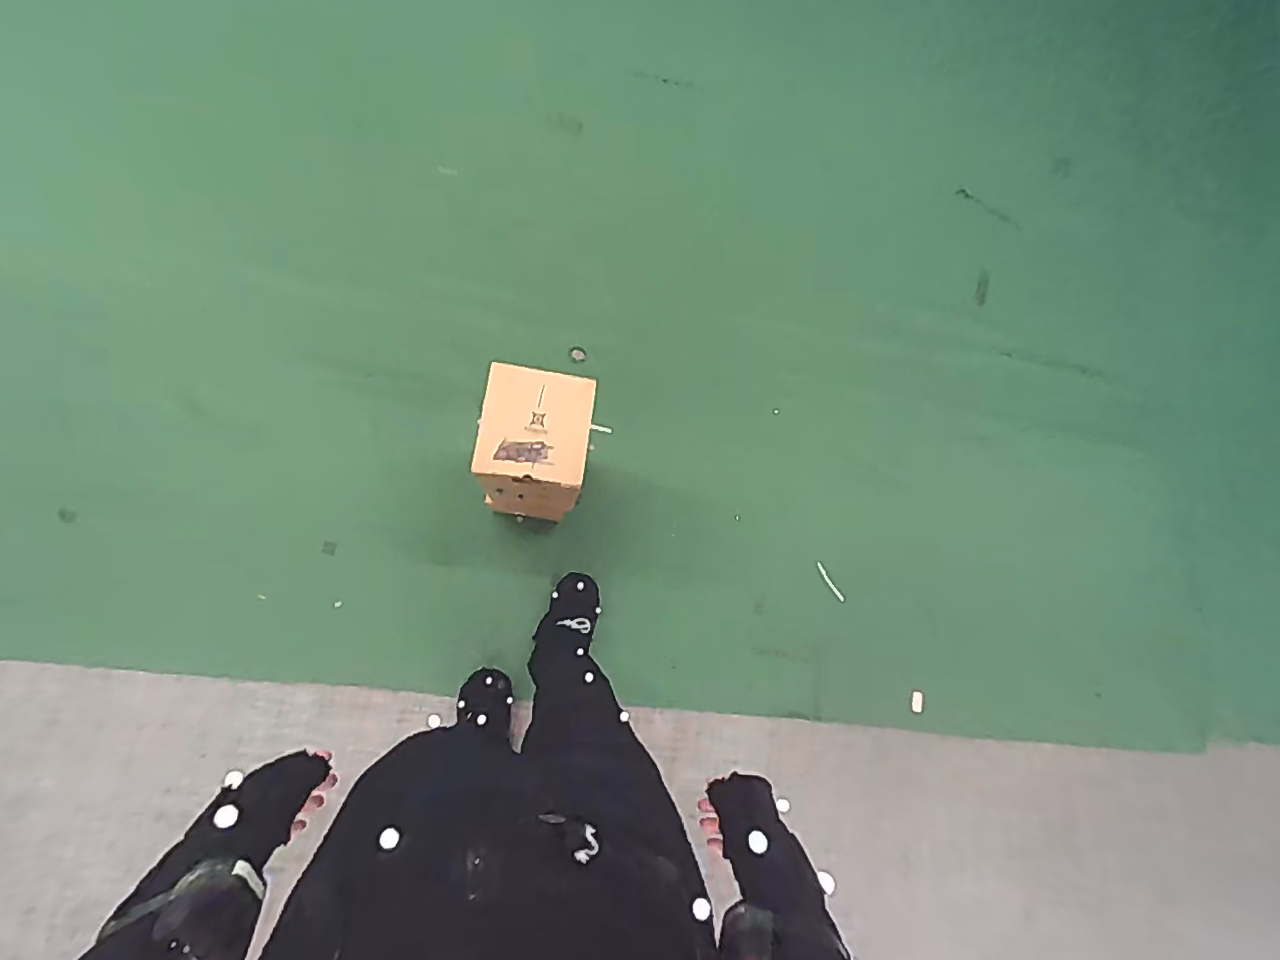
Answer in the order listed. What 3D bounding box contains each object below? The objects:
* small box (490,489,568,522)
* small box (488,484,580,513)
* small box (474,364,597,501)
[{"bbox_3d":[-0.235,-0.008,1.222,0.168,0.176,0.179,9,80,-8],"label":"small box"},{"bbox_3d":[-0.196,-0.040,1.066,0.168,0.176,0.179,9,78,-9],"label":"small box"},{"bbox_3d":[-0.170,-0.068,0.905,0.168,0.176,0.179,9,78,-9],"label":"small box"}]
